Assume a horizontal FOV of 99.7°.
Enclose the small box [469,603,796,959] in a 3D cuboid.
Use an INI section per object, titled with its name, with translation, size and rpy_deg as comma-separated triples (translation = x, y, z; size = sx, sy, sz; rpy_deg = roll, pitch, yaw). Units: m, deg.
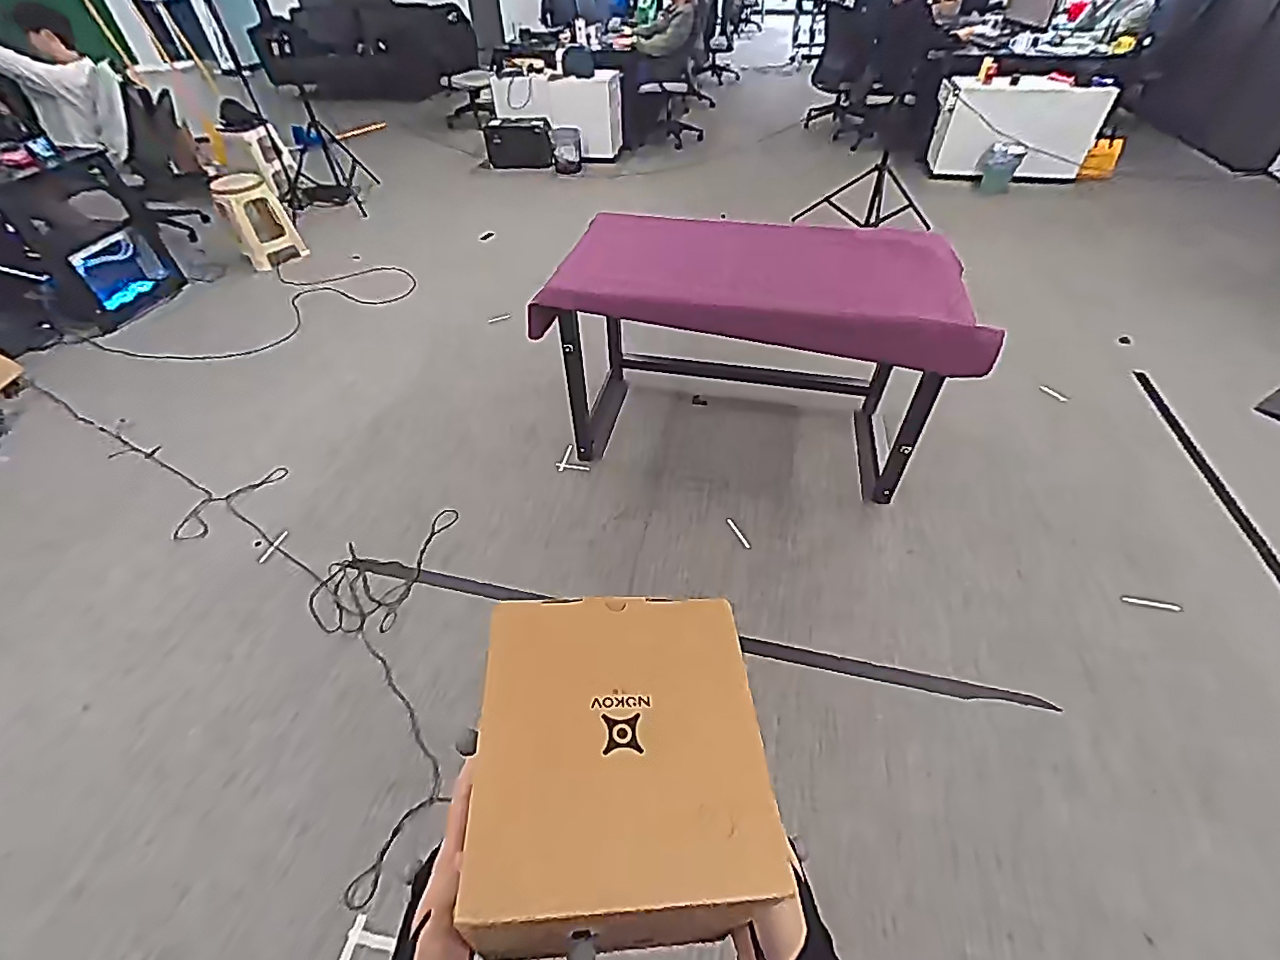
[small box]
translation = -0.014, 0.208, 0.377
size = 0.168, 0.176, 0.179
rpy_deg = 1, 42, -8
